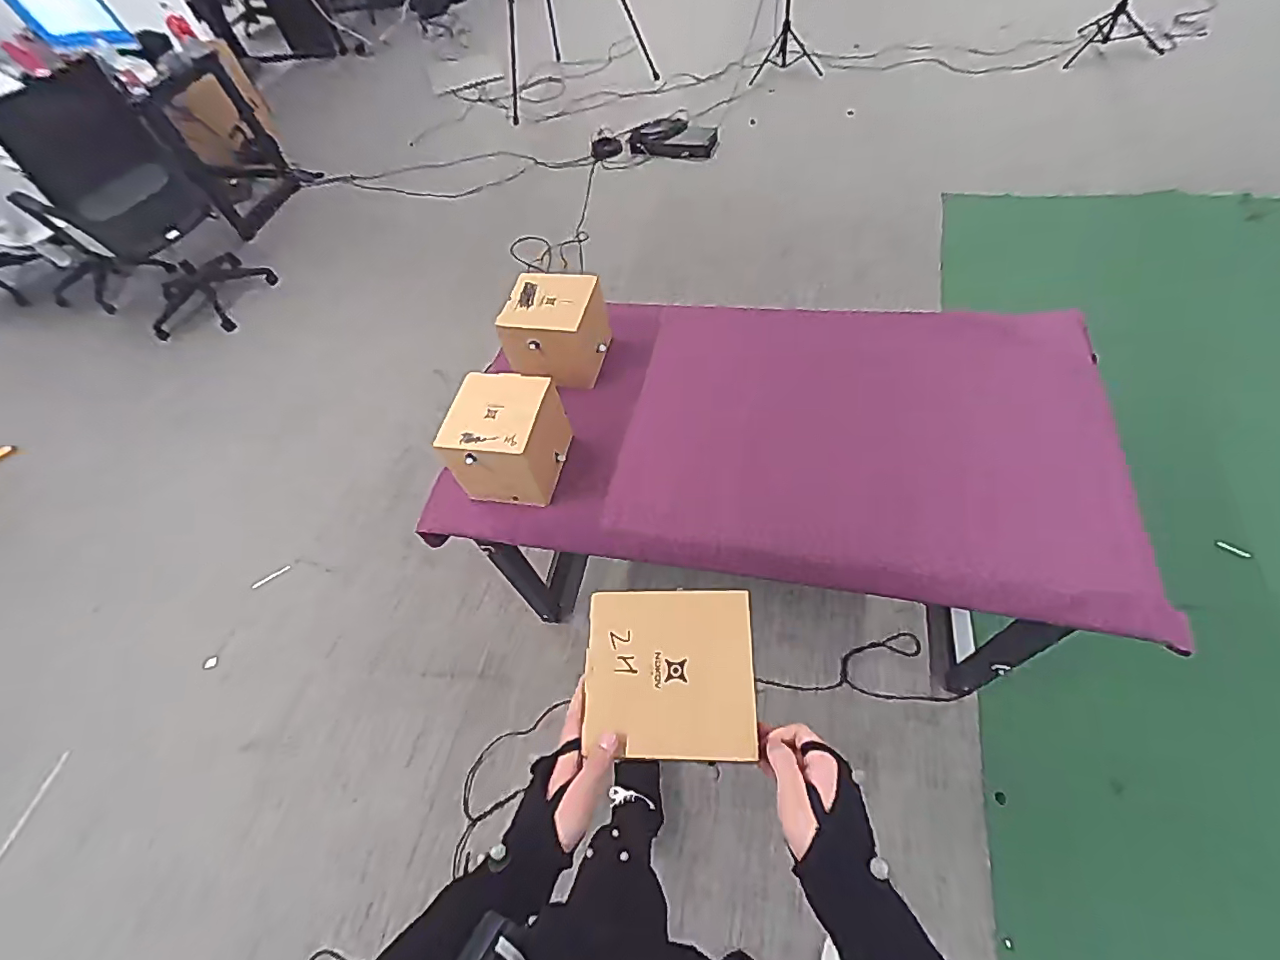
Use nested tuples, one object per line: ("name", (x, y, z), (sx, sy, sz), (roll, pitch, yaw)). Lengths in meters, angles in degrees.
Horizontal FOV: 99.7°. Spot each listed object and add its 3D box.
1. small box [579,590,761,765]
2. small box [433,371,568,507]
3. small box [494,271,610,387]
("small box", (0.040, 0.229, 0.620), (0.179, 0.176, 0.168), (-2, 62, 8))
("small box", (-0.242, -0.074, 0.991), (0.168, 0.176, 0.179), (6, 57, 12))
("small box", (-0.176, -0.315, 1.140), (0.179, 0.176, 0.168), (8, 59, 12))
